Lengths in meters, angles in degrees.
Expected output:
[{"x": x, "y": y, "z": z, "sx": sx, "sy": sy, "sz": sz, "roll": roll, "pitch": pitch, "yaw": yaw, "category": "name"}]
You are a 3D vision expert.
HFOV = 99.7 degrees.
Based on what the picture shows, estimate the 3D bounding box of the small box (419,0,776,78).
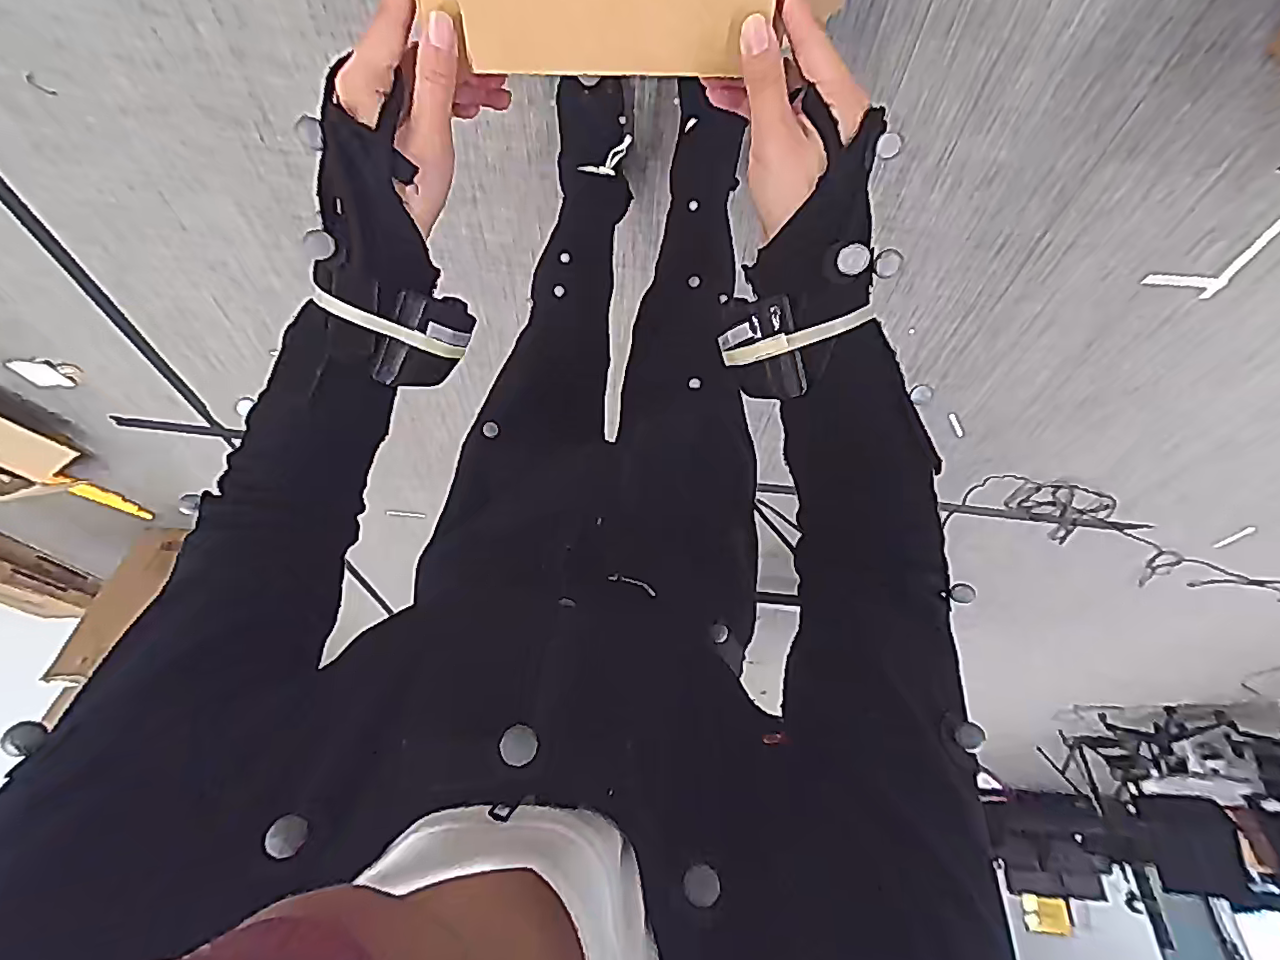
[{"x": -0.019, "y": -0.326, "z": 0.262, "sx": 0.179, "sy": 0.176, "sz": 0.168, "roll": 2, "pitch": 146, "yaw": 1, "category": "small box"}]
